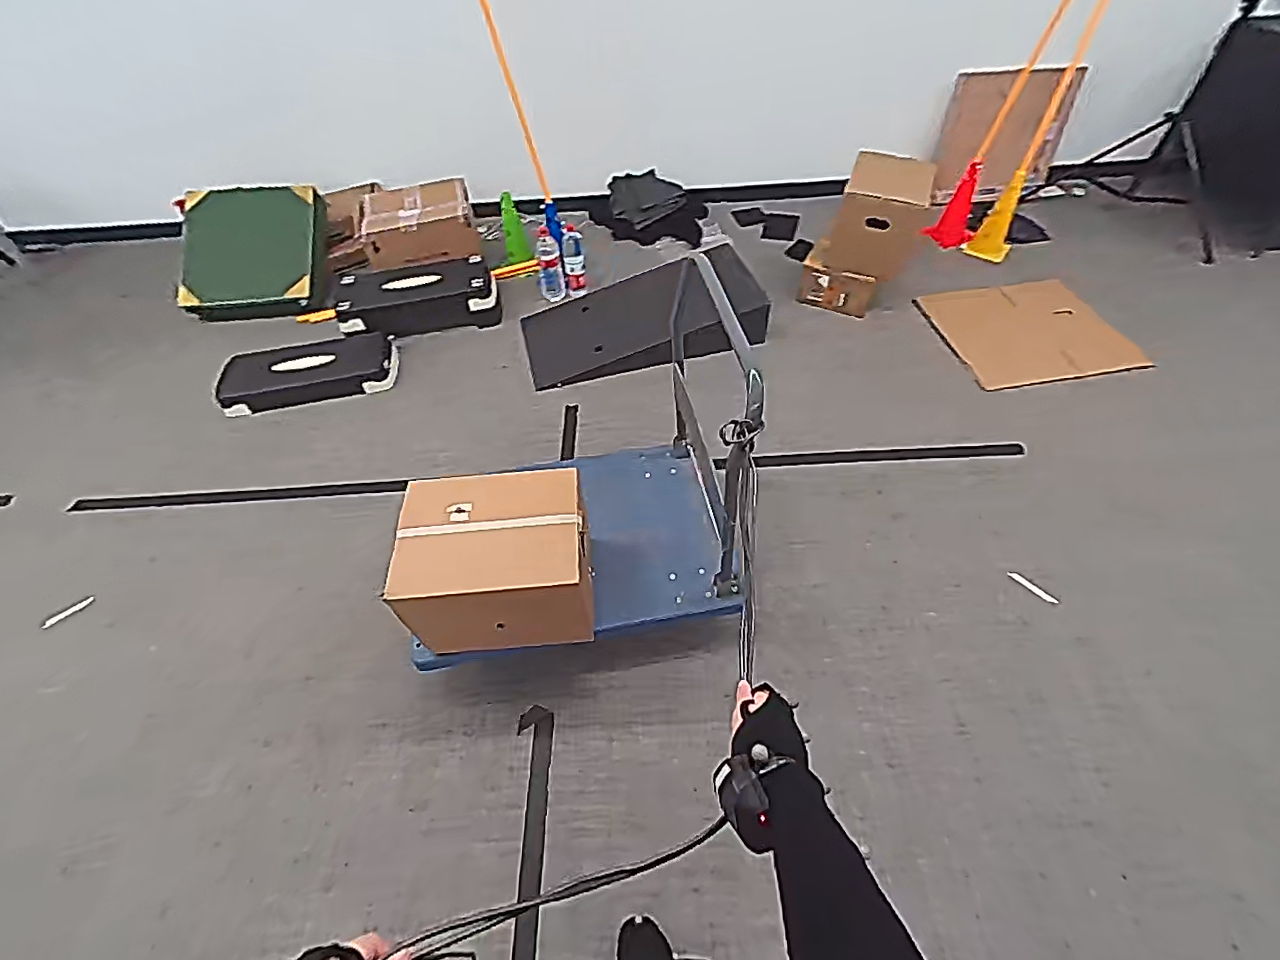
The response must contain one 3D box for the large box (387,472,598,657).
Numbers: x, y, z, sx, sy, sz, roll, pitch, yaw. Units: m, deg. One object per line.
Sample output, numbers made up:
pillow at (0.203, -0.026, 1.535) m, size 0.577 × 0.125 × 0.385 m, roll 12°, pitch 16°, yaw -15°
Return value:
large box at (-0.322, 0.211, 1.306) m, size 0.408 × 0.320 × 0.320 m, roll -5°, pitch 51°, yaw -1°
